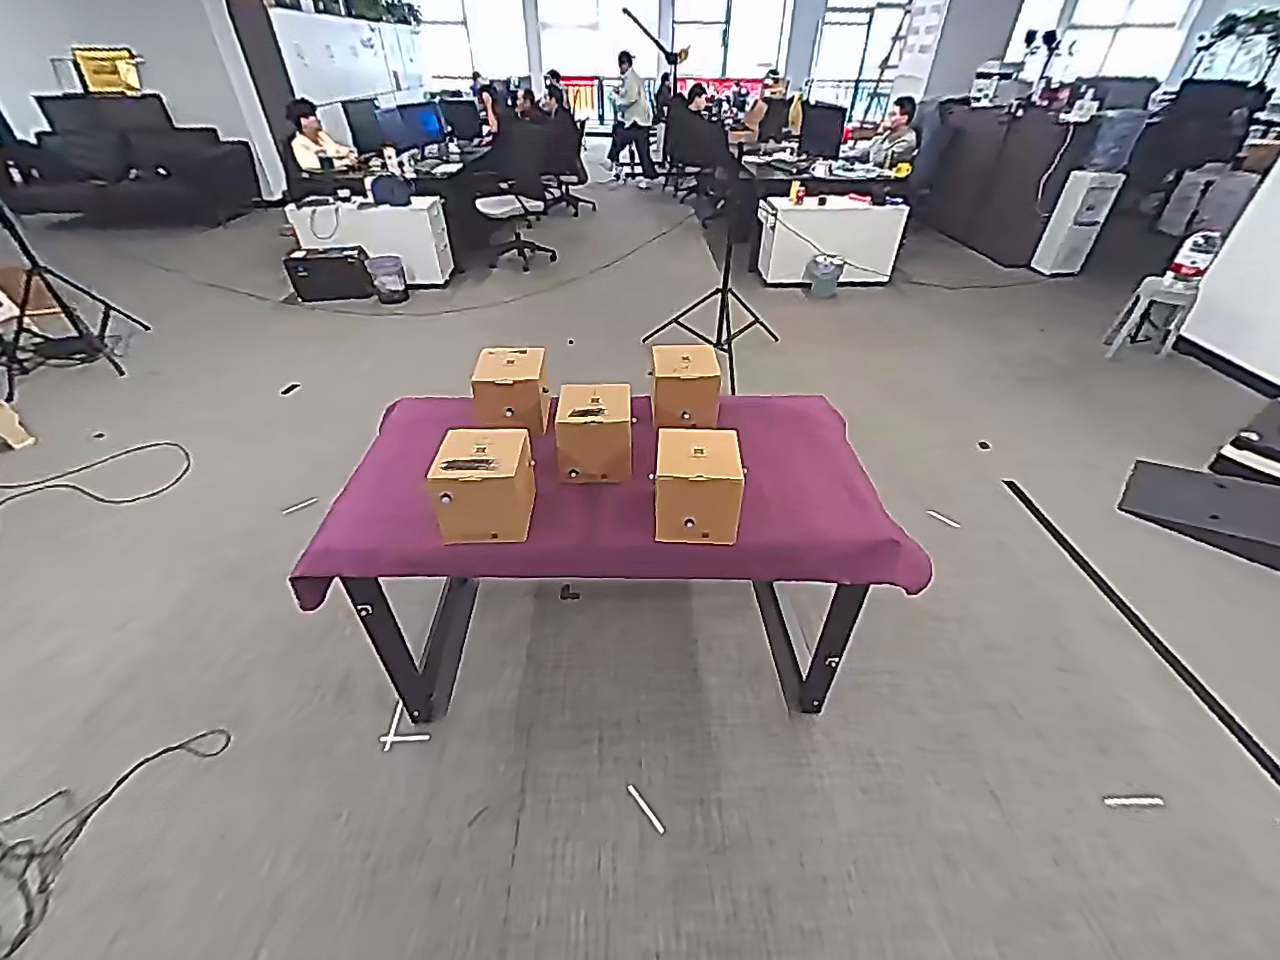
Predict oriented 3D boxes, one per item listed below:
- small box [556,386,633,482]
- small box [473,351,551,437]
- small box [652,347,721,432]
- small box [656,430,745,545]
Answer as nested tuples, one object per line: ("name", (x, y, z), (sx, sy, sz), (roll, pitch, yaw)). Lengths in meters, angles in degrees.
("small box", (-0.101, -0.108, 1.283), (0.168, 0.176, 0.179), (-1, 38, -1))
("small box", (-0.329, -0.224, 1.426), (0.168, 0.176, 0.179), (-1, 41, -2))
("small box", (0.119, -0.241, 1.449), (0.168, 0.176, 0.179), (-2, 39, -1))
("small box", (0.119, 0.013, 1.128), (0.168, 0.176, 0.179), (2, 37, 2))
